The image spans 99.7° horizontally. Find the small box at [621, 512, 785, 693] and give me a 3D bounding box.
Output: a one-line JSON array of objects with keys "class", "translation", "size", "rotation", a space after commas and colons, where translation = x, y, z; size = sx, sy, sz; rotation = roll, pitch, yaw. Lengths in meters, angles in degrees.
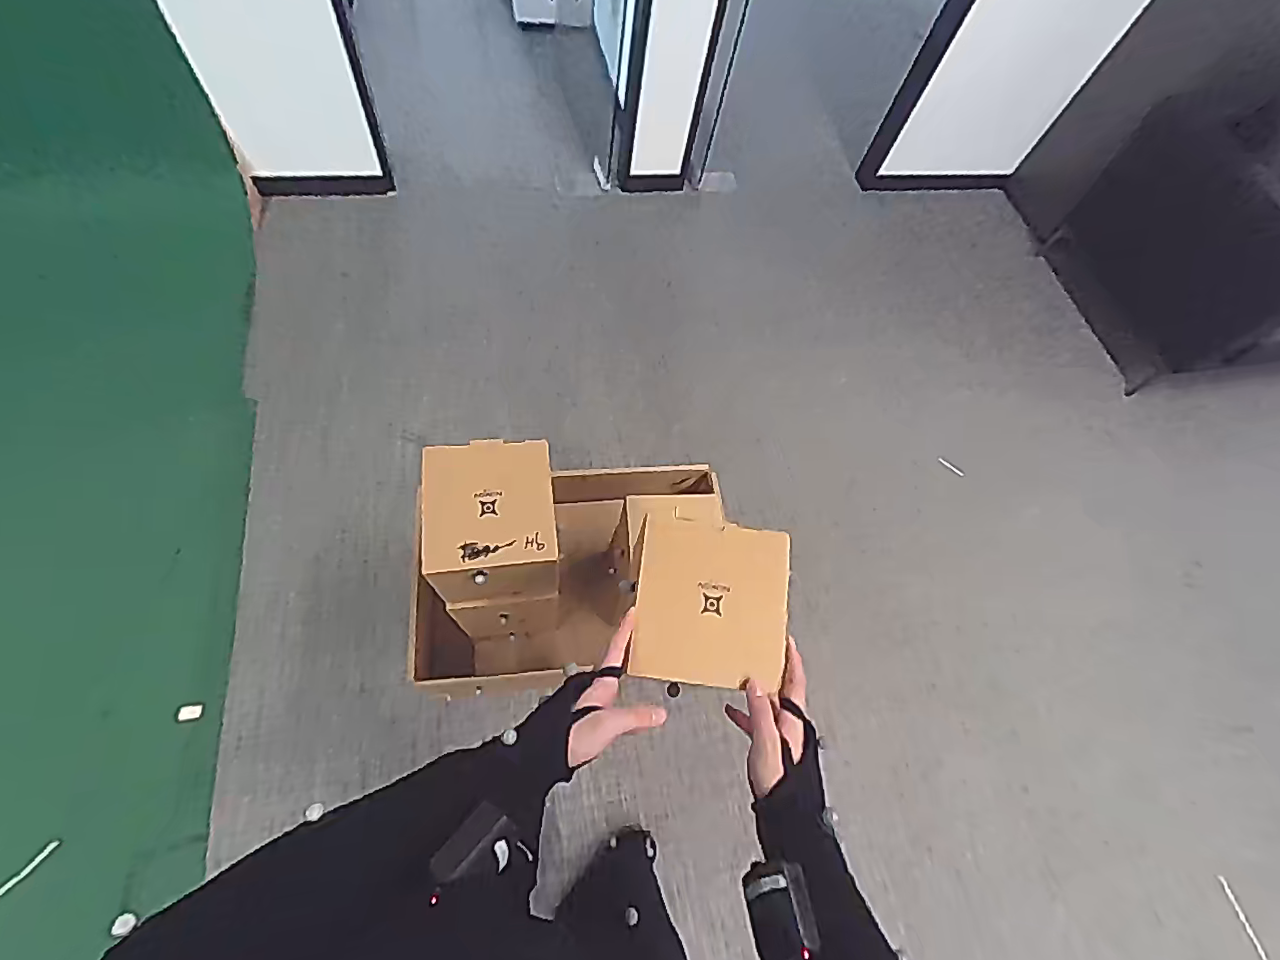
[{"class": "small box", "translation": [0.068, 0.155, 0.657], "size": [0.168, 0.176, 0.179], "rotation": [8, 69, -2]}]

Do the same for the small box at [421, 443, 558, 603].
[{"class": "small box", "translation": [-0.207, 0.064, 0.769], "size": [0.168, 0.176, 0.179], "rotation": [-4, 65, -11]}]

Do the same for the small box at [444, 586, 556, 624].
[{"class": "small box", "translation": [-0.229, 0.141, 0.912], "size": [0.168, 0.176, 0.179], "rotation": [-3, 66, -11]}]

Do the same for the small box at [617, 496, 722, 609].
[{"class": "small box", "translation": [0.050, 0.141, 0.958], "size": [0.168, 0.176, 0.179], "rotation": [-1, 64, -8]}]
